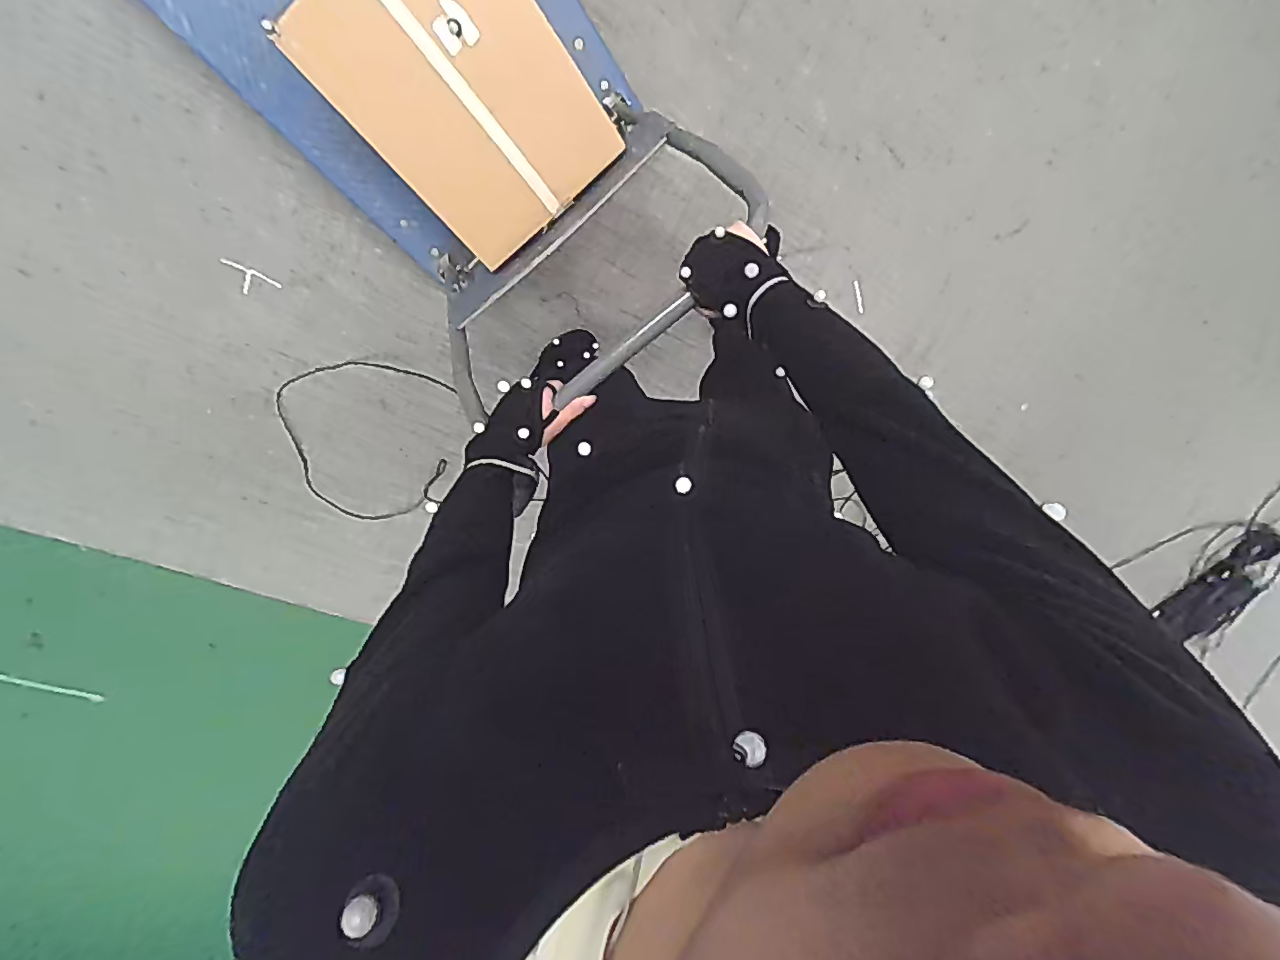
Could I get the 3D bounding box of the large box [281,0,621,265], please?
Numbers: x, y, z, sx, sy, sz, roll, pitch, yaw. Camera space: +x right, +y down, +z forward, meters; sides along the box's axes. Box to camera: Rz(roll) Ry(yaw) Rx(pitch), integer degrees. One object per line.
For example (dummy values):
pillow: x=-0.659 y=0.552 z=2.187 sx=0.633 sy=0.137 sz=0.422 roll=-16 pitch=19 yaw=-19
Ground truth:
large box: x=-0.294 y=-0.667 z=0.940 sx=0.320 sy=0.320 sz=0.408 roll=-37 pitch=128 yaw=12
